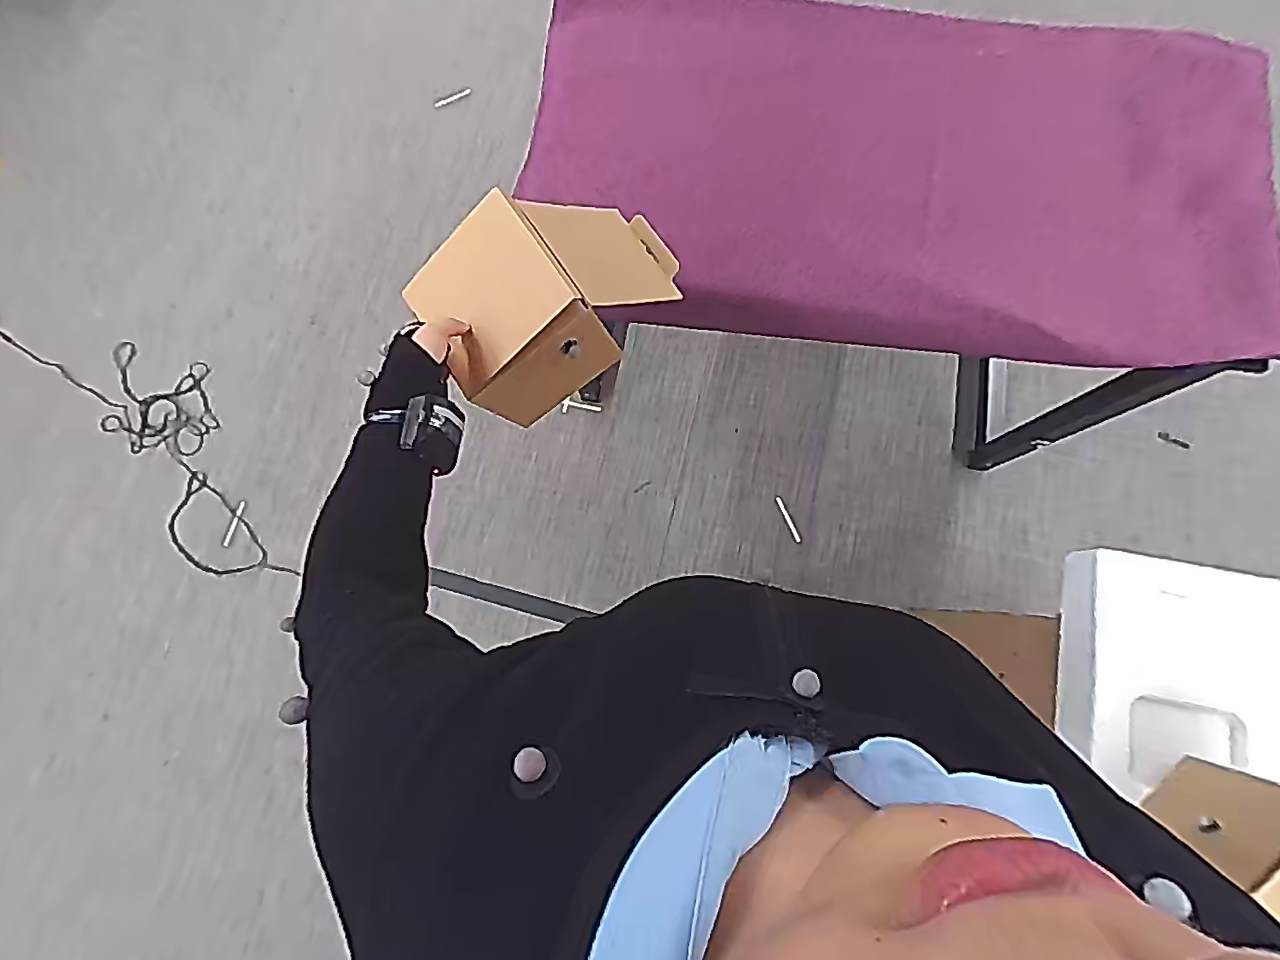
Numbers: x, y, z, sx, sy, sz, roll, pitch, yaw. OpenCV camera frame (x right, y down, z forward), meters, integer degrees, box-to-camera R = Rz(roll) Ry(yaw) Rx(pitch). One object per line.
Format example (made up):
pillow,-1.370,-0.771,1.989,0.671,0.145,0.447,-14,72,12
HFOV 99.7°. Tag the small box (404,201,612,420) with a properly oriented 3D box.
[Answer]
small box,-0.152,-0.202,0.693,0.179,0.176,0.168,-35,78,6
